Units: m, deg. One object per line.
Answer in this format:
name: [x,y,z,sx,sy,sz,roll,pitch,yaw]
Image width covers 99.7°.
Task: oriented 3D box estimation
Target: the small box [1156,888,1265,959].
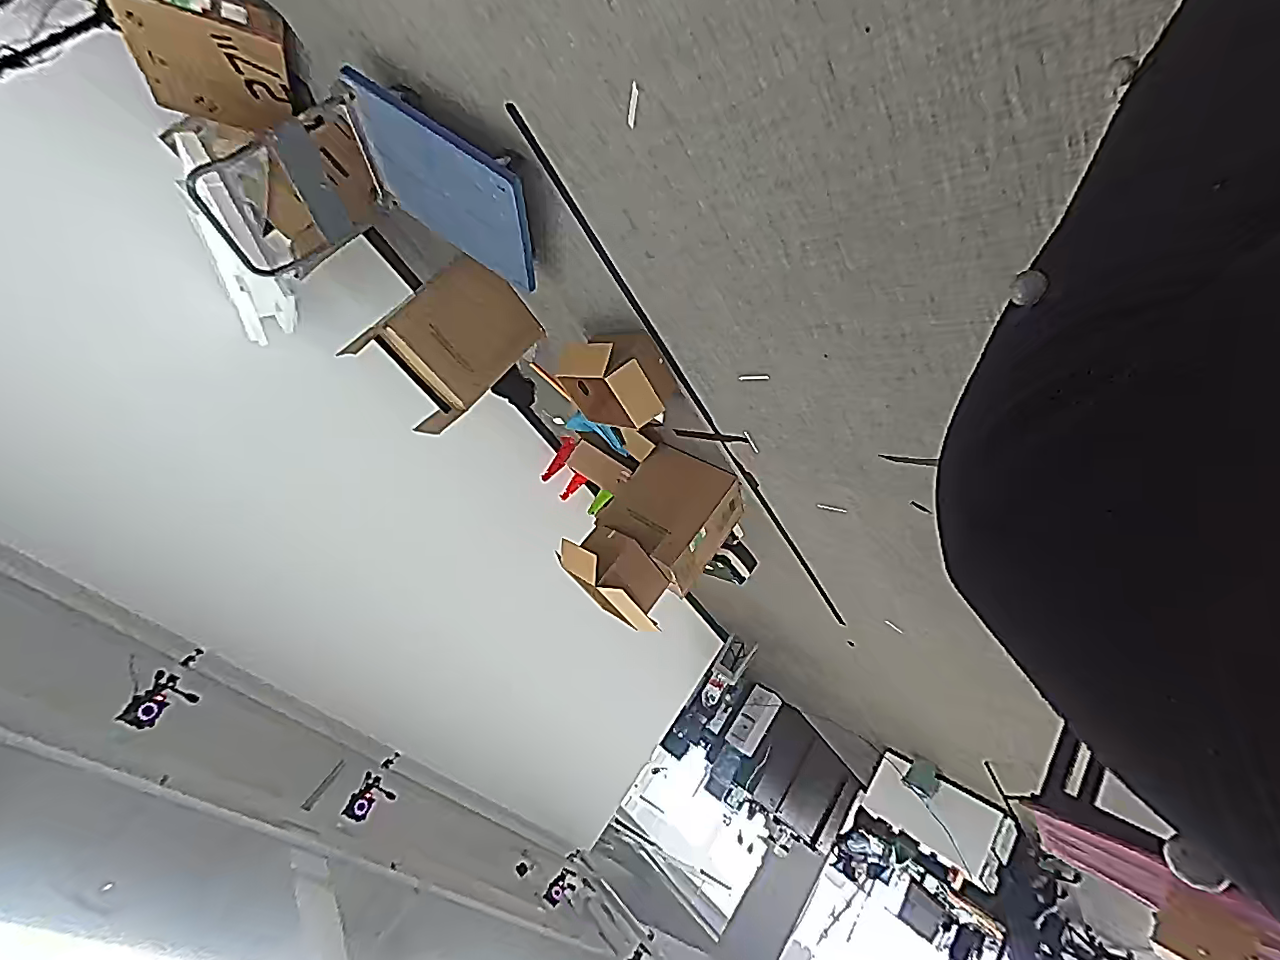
small box: [1.543,1.251,1.463,0.179,0.176,0.168,9,145,54]
